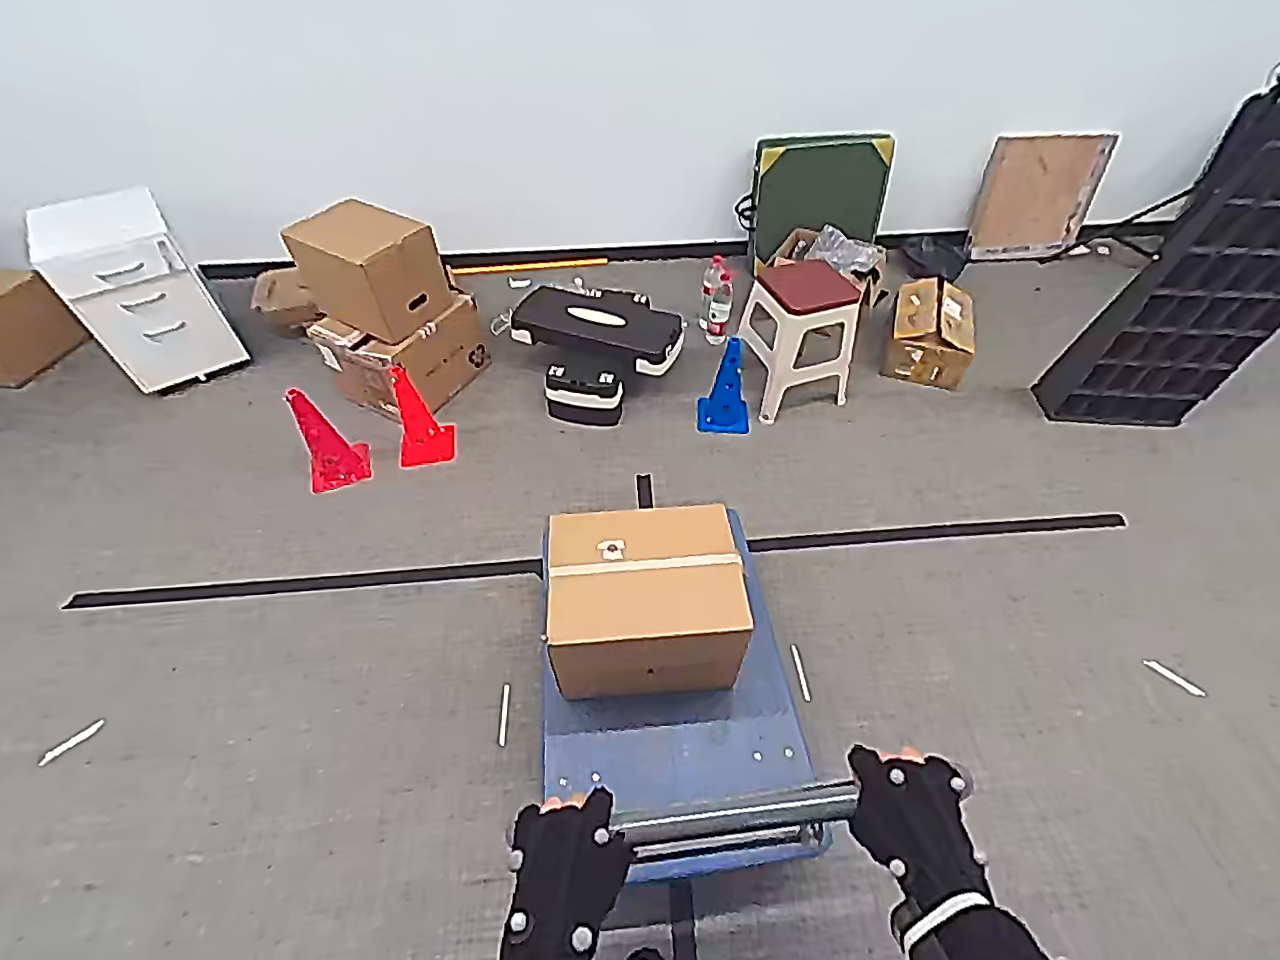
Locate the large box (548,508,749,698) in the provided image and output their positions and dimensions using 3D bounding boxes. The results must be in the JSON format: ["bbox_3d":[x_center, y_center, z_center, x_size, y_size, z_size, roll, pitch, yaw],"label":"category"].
[{"bbox_3d":[0.009,0.293,1.265,0.408,0.320,0.320,-4,49,-2],"label":"large box"}]
